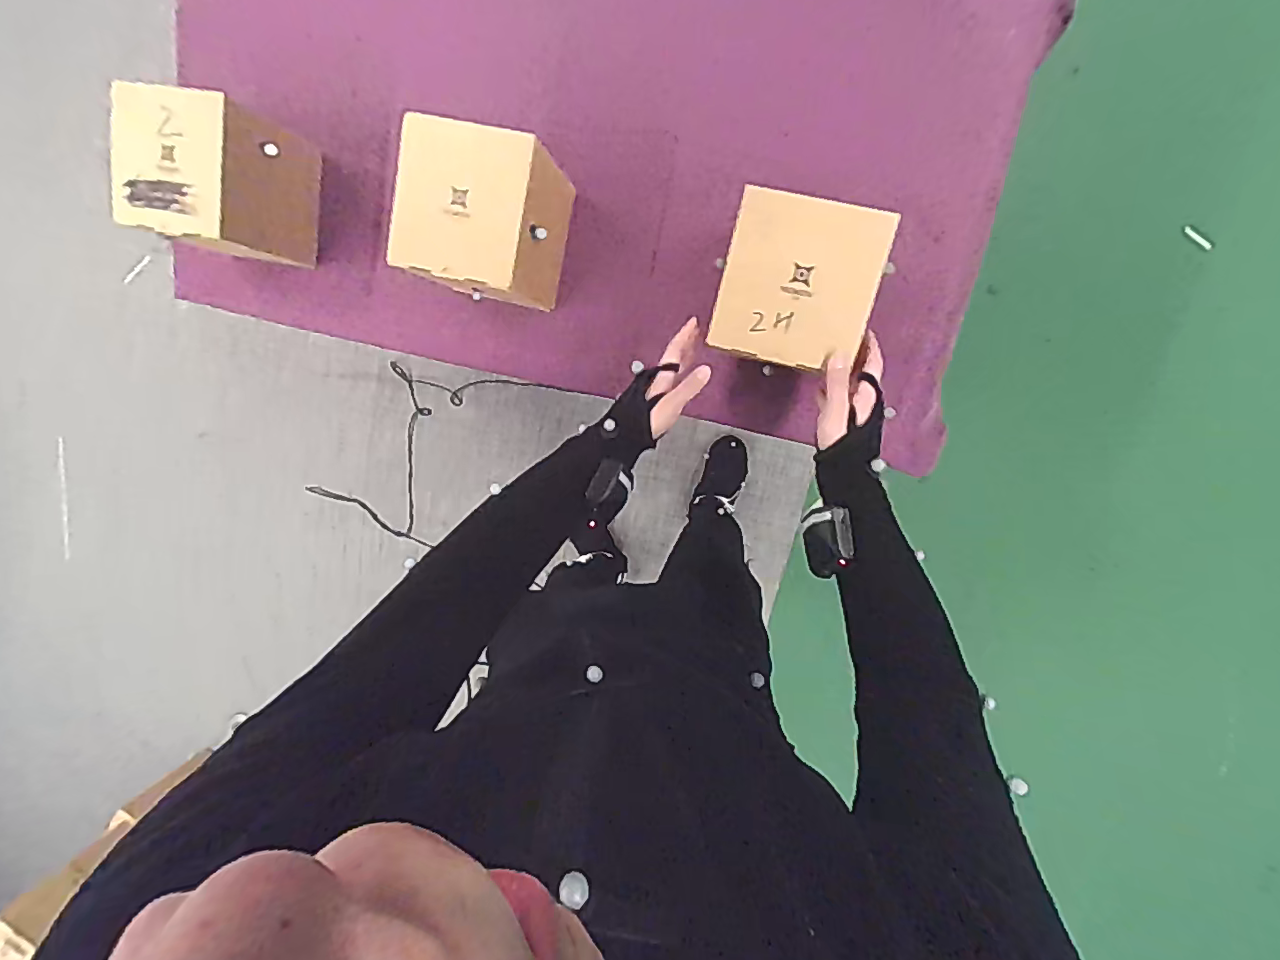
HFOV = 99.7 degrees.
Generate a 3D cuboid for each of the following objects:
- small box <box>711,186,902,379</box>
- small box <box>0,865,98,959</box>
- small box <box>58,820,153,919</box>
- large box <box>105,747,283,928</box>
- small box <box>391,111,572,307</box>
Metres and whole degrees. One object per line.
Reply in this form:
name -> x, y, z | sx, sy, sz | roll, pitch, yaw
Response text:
small box -> 0.192, -0.231, 0.672 | 0.168, 0.176, 0.179 | 16, 104, 7
small box -> -1.726, 1.260, 1.547 | 0.168, 0.176, 0.179 | 43, 104, -2
small box -> -1.709, 1.233, 1.708 | 0.168, 0.176, 0.179 | 43, 102, -2
large box -> -1.624, 1.271, 1.954 | 0.408, 0.320, 0.320 | 37, 105, 0
small box -> -0.198, -0.343, 0.719 | 0.168, 0.176, 0.179 | 15, 102, 6
